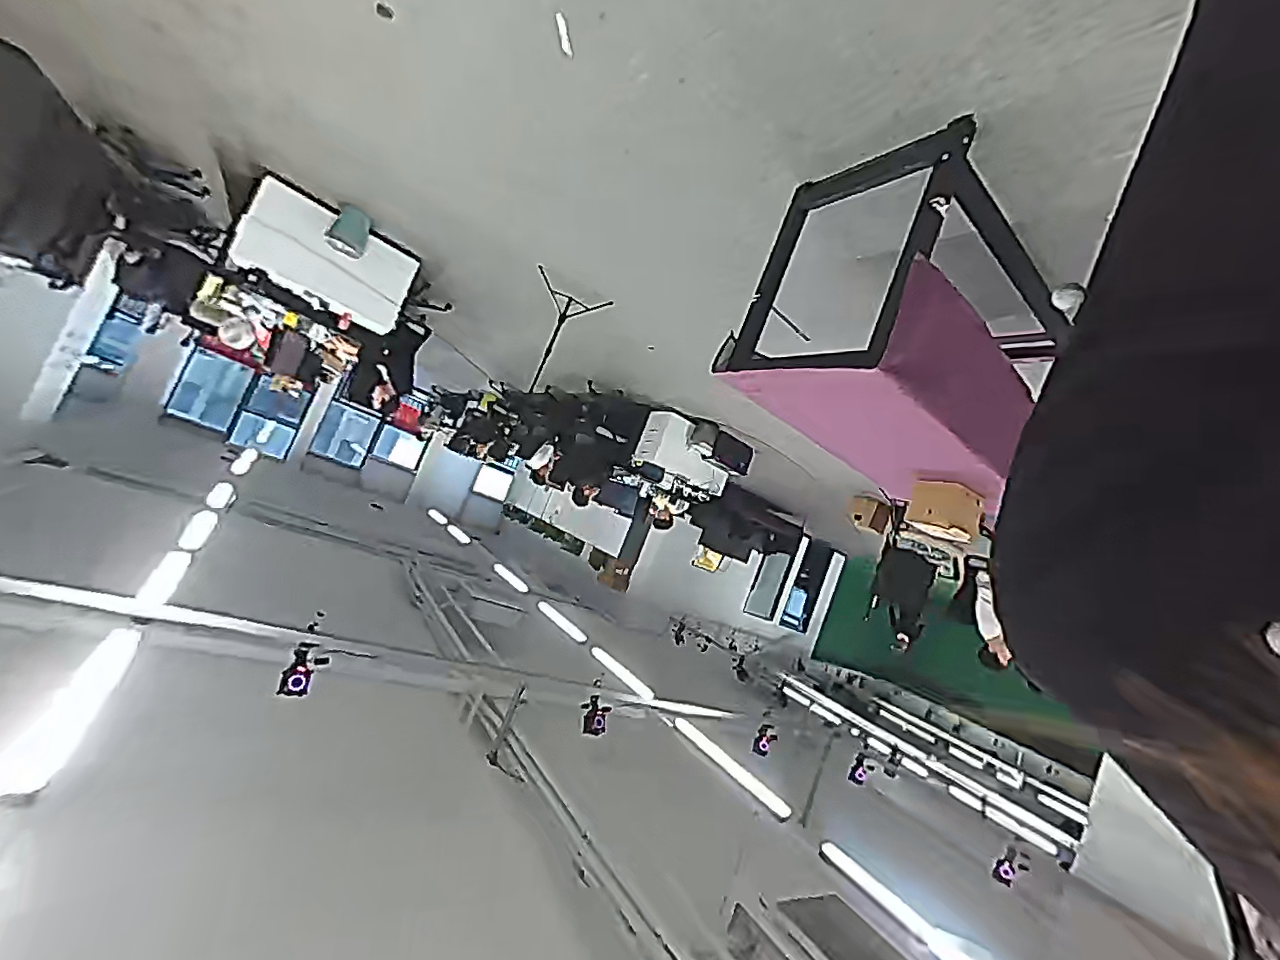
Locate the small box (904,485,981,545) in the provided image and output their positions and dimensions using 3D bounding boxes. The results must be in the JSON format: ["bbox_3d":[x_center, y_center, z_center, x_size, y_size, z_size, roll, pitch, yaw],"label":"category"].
[{"bbox_3d":[1.122,0.125,1.995,0.168,0.176,0.179,25,175,-21],"label":"small box"}]
